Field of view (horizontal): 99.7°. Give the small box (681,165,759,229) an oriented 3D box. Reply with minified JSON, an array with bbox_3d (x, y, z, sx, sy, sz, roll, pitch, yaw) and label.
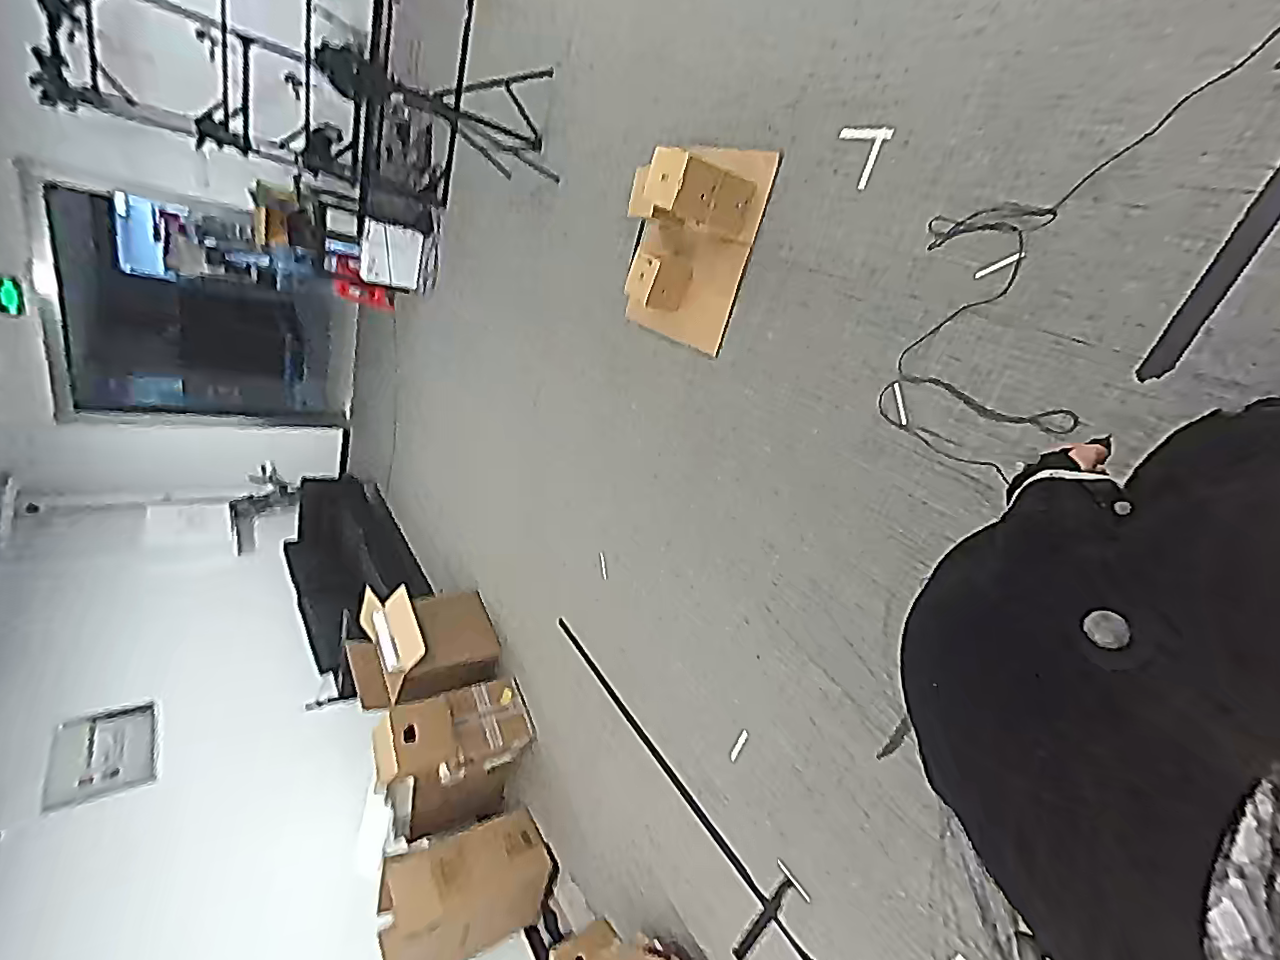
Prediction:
[{"bbox_3d":[0.279,-0.989,1.883,0.179,0.176,0.168,39,122,41],"label":"small box"}]

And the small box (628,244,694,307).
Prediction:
[{"bbox_3d":[0.084,-0.798,2.128,0.168,0.176,0.179,48,129,37],"label":"small box"}]

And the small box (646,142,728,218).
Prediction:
[{"bbox_3d":[0.154,-0.984,1.778,0.179,0.176,0.168,42,123,39],"label":"small box"}]

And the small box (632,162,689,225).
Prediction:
[{"bbox_3d":[0.097,-1.113,2.100,0.168,0.176,0.179,34,117,46],"label":"small box"}]
